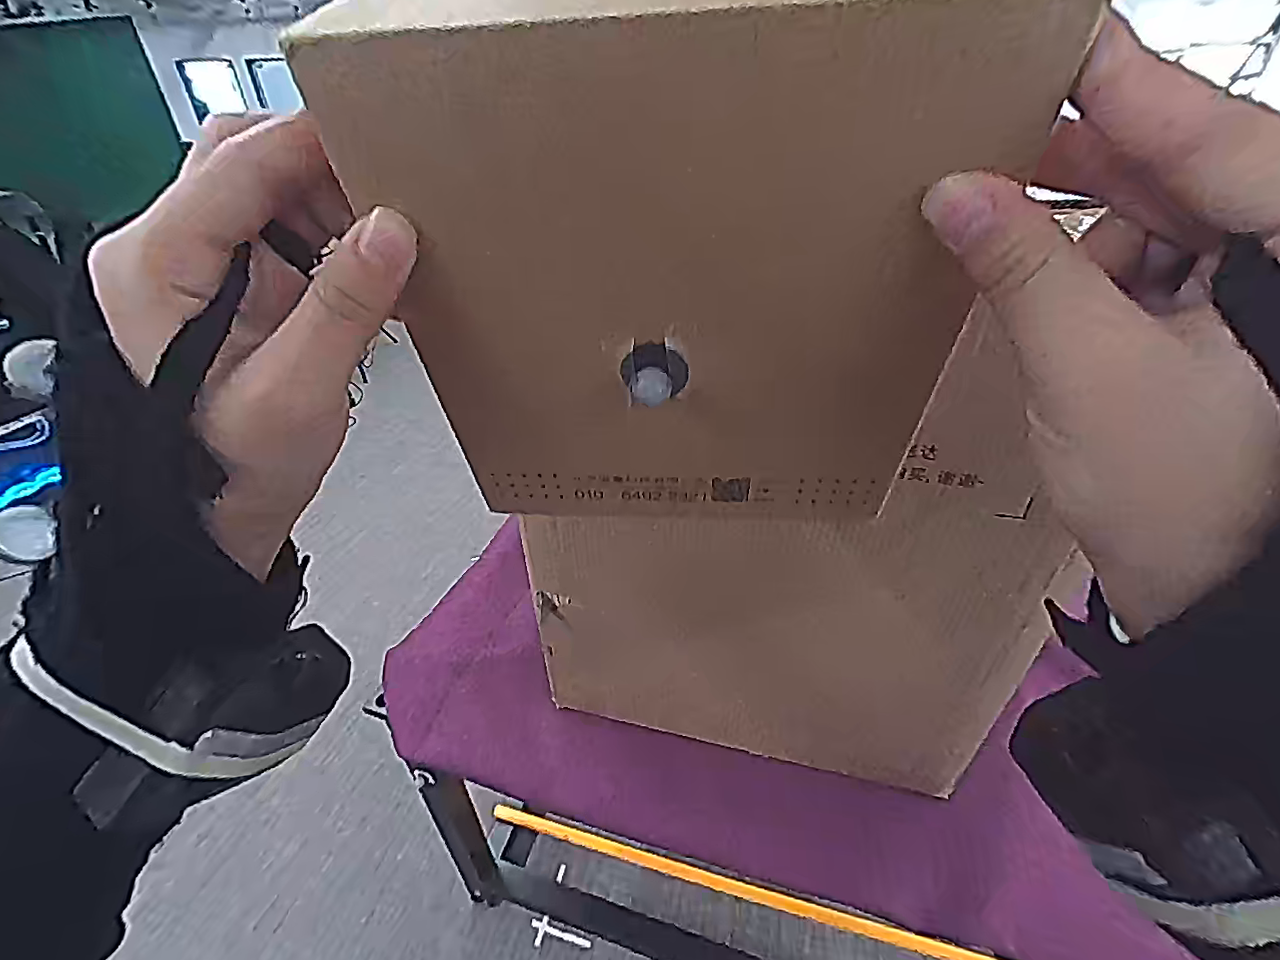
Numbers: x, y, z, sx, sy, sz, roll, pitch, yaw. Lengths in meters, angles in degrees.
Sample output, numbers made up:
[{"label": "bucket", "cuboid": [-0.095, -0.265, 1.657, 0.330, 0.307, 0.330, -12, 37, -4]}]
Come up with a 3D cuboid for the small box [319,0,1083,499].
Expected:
[{"label": "small box", "cuboid": [0.020, -0.107, 0.226, 0.168, 0.176, 0.179, 1, 49, 5]}]
